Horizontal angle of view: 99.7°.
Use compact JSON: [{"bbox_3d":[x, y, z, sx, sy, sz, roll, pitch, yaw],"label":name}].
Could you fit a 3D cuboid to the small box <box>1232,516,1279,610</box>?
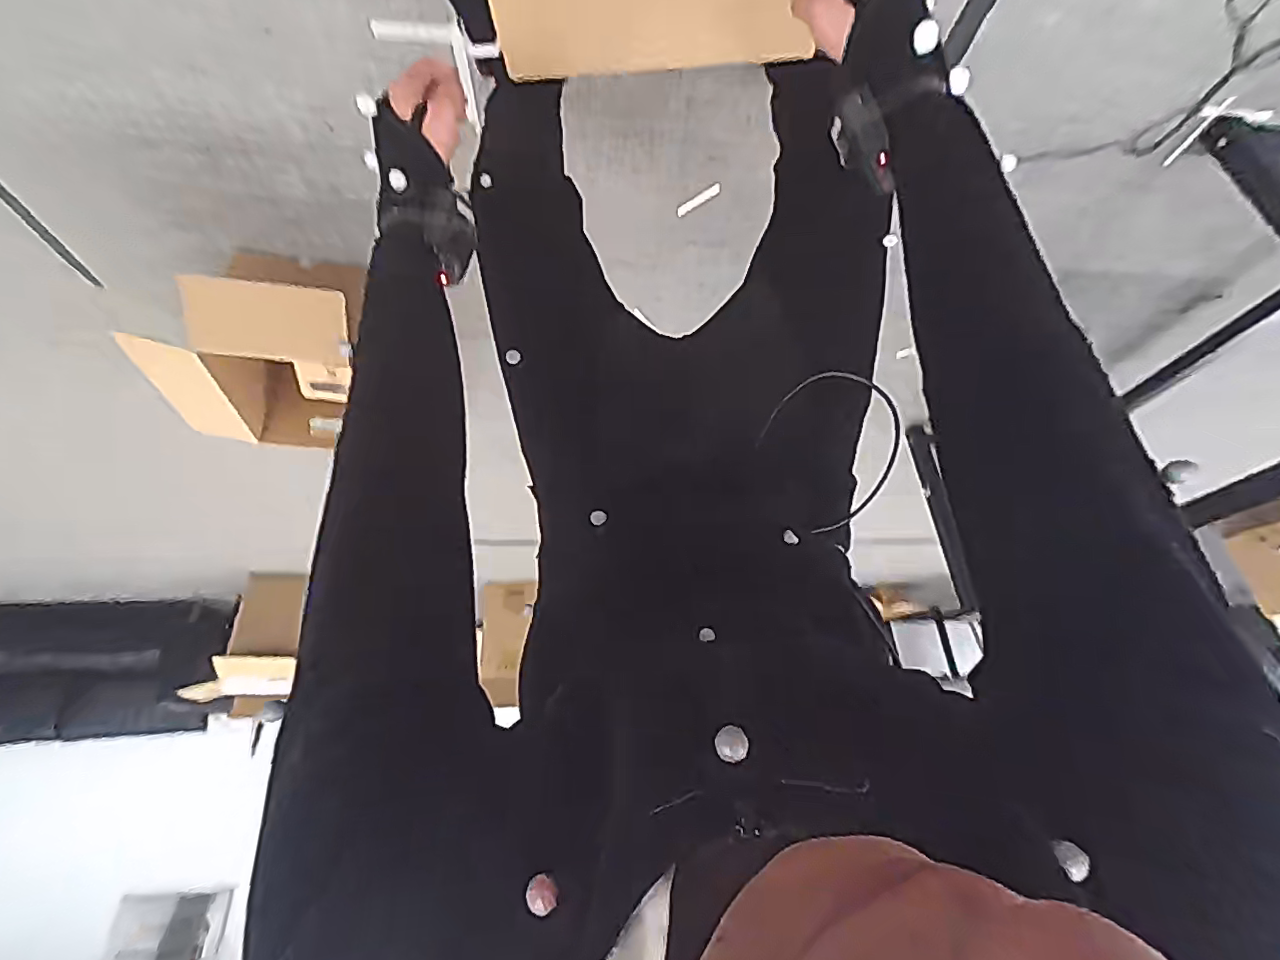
[{"bbox_3d":[1.345,0.150,1.053,0.179,0.176,0.168,3,152,-12],"label":"small box"}]
